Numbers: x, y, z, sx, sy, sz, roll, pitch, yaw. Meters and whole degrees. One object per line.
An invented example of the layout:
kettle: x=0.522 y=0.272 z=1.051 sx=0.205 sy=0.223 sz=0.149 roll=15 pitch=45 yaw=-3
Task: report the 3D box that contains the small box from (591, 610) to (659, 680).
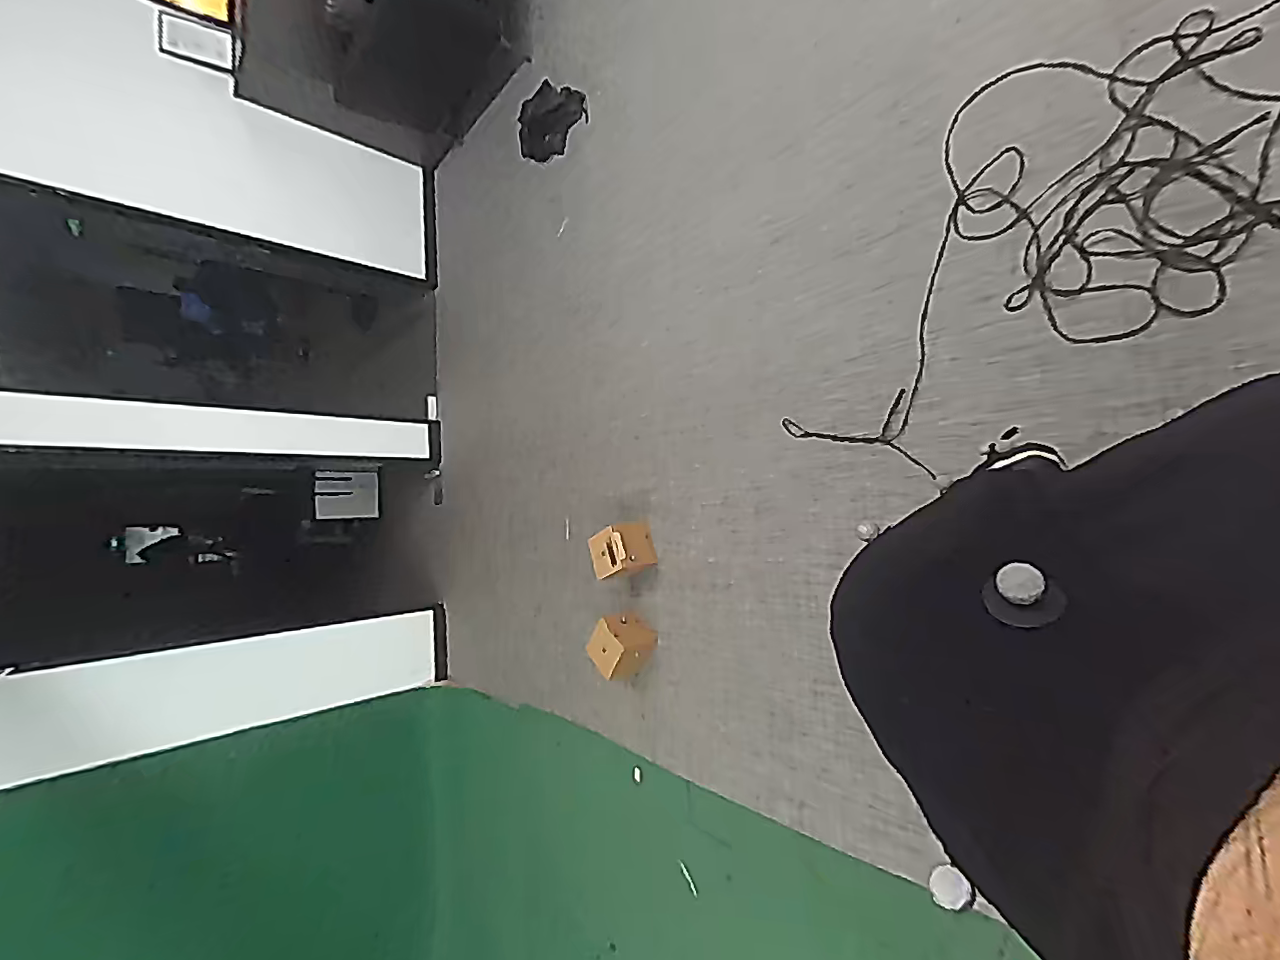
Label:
small box: x=-0.053 y=0.617 z=2.046 sx=0.168 sy=0.176 sz=0.179 roll=44 pitch=122 yaw=41
